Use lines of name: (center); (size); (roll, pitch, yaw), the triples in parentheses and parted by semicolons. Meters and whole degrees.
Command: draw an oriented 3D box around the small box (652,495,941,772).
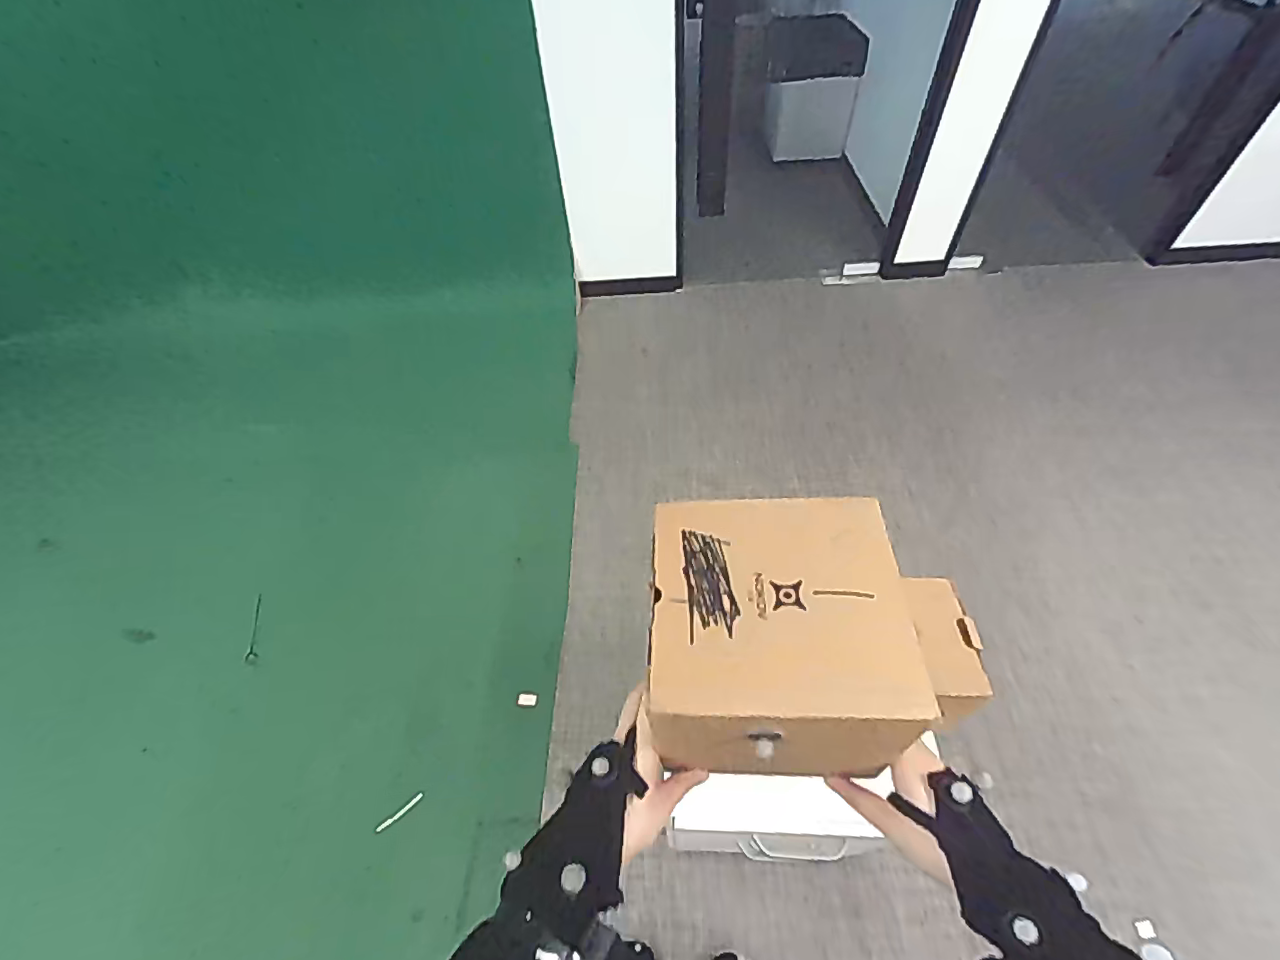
small box: (0.107, 0.128, 0.440); (0.179, 0.176, 0.168); (-1, 51, 6)

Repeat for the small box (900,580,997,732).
small box: (0.364, 0.255, 0.781); (0.179, 0.176, 0.168); (-1, 51, 6)
